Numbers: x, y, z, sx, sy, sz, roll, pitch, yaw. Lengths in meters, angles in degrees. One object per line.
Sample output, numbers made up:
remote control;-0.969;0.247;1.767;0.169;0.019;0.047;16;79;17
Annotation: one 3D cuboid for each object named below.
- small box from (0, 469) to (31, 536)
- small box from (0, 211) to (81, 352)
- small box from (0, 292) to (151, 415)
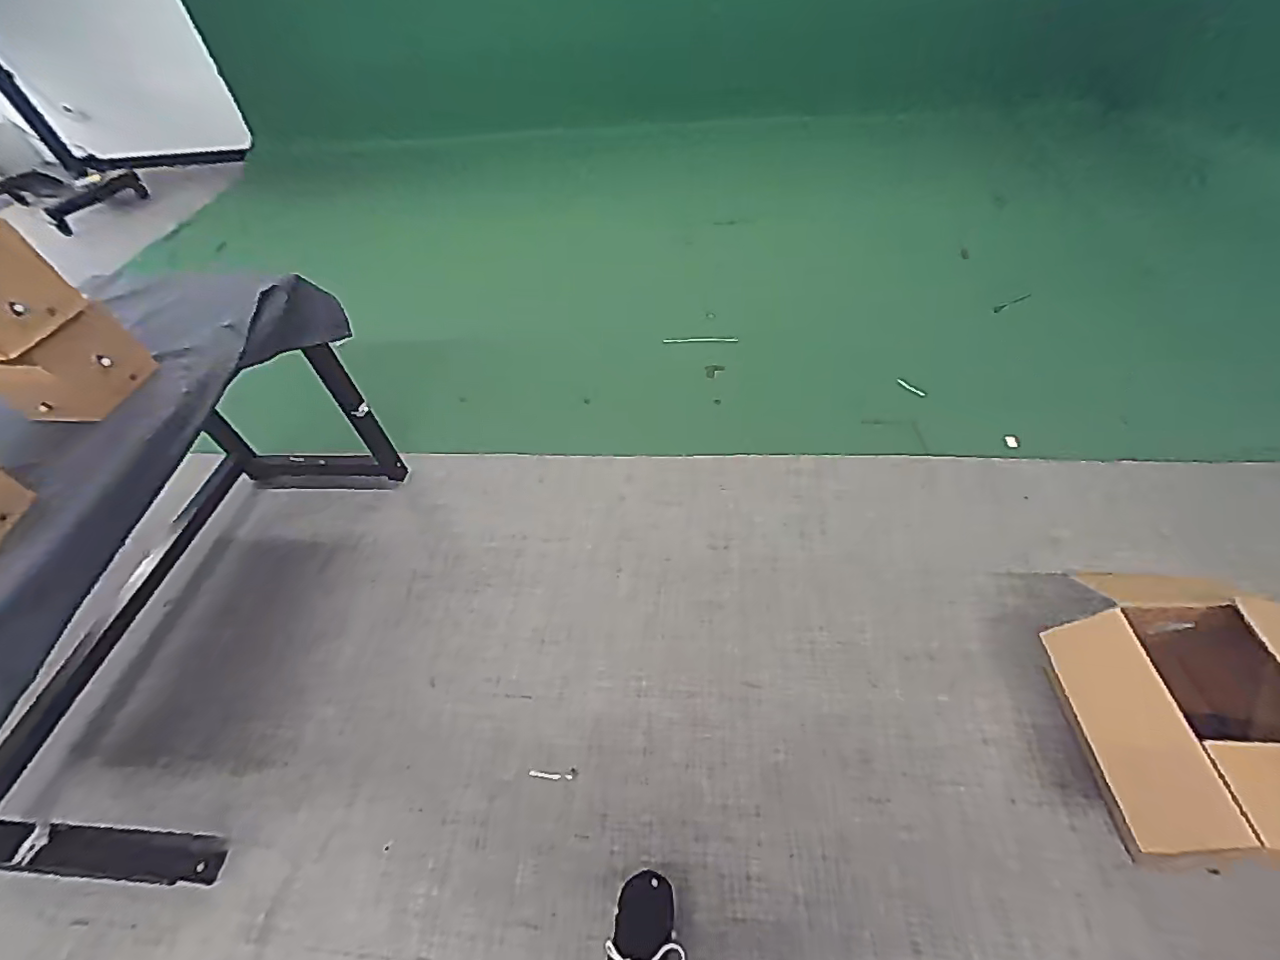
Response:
small box;-1.091;0.039;0.788;0.179;0.176;0.168;-7;50;-1
small box;-1.104;-0.320;0.878;0.179;0.176;0.168;4;51;8
small box;-1.101;-0.235;1.019;0.179;0.176;0.168;1;51;6
